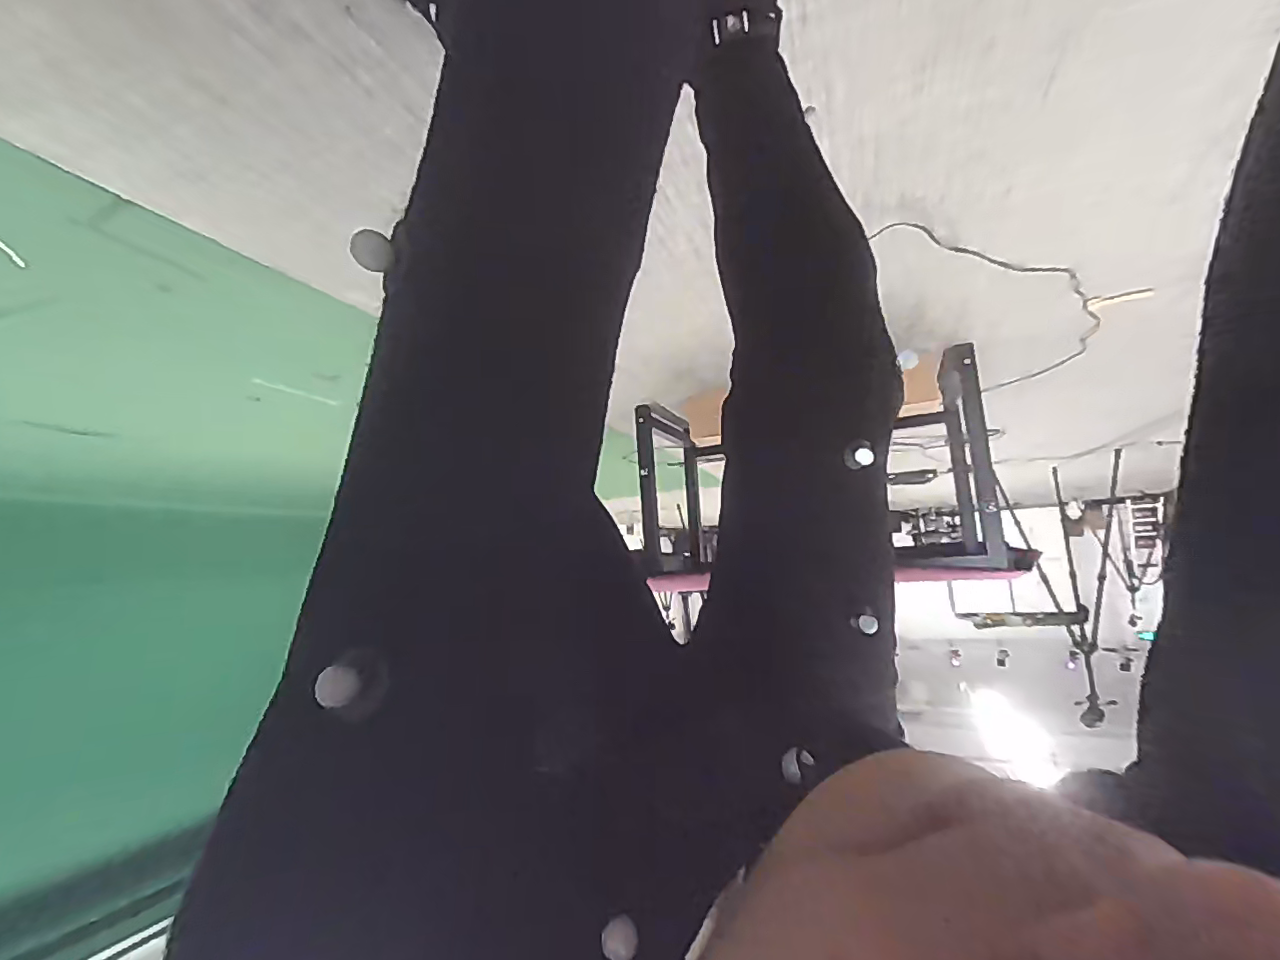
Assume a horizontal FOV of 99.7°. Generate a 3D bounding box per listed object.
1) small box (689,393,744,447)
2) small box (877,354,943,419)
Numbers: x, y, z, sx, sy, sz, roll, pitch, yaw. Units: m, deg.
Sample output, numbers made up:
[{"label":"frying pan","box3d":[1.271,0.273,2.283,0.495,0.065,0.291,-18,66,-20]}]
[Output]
[{"label":"small box","box3d":[0.300,-0.234,2.112,0.179,0.176,0.168,-7,170,21]},{"label":"small box","box3d":[0.909,-0.316,1.828,0.179,0.176,0.168,-7,170,24]}]
